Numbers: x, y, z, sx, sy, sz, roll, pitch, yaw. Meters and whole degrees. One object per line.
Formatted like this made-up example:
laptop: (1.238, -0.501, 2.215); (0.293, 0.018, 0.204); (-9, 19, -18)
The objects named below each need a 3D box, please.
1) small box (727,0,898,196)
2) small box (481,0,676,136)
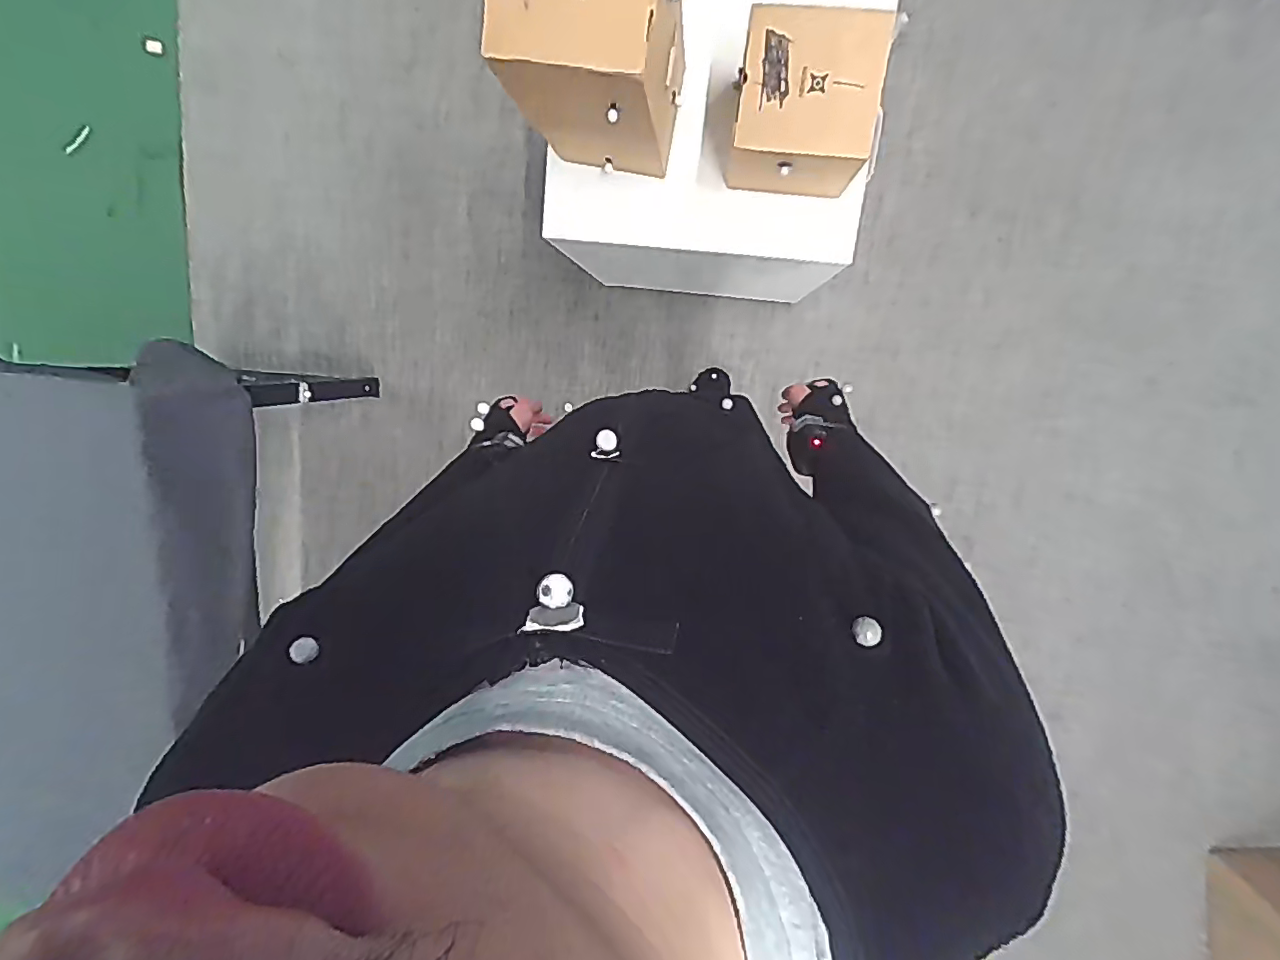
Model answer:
small box: (0.219, -0.507, 0.741); (0.179, 0.176, 0.168); (7, 102, 3)
small box: (-0.056, -0.509, 0.598); (0.179, 0.176, 0.168); (8, 101, 4)
